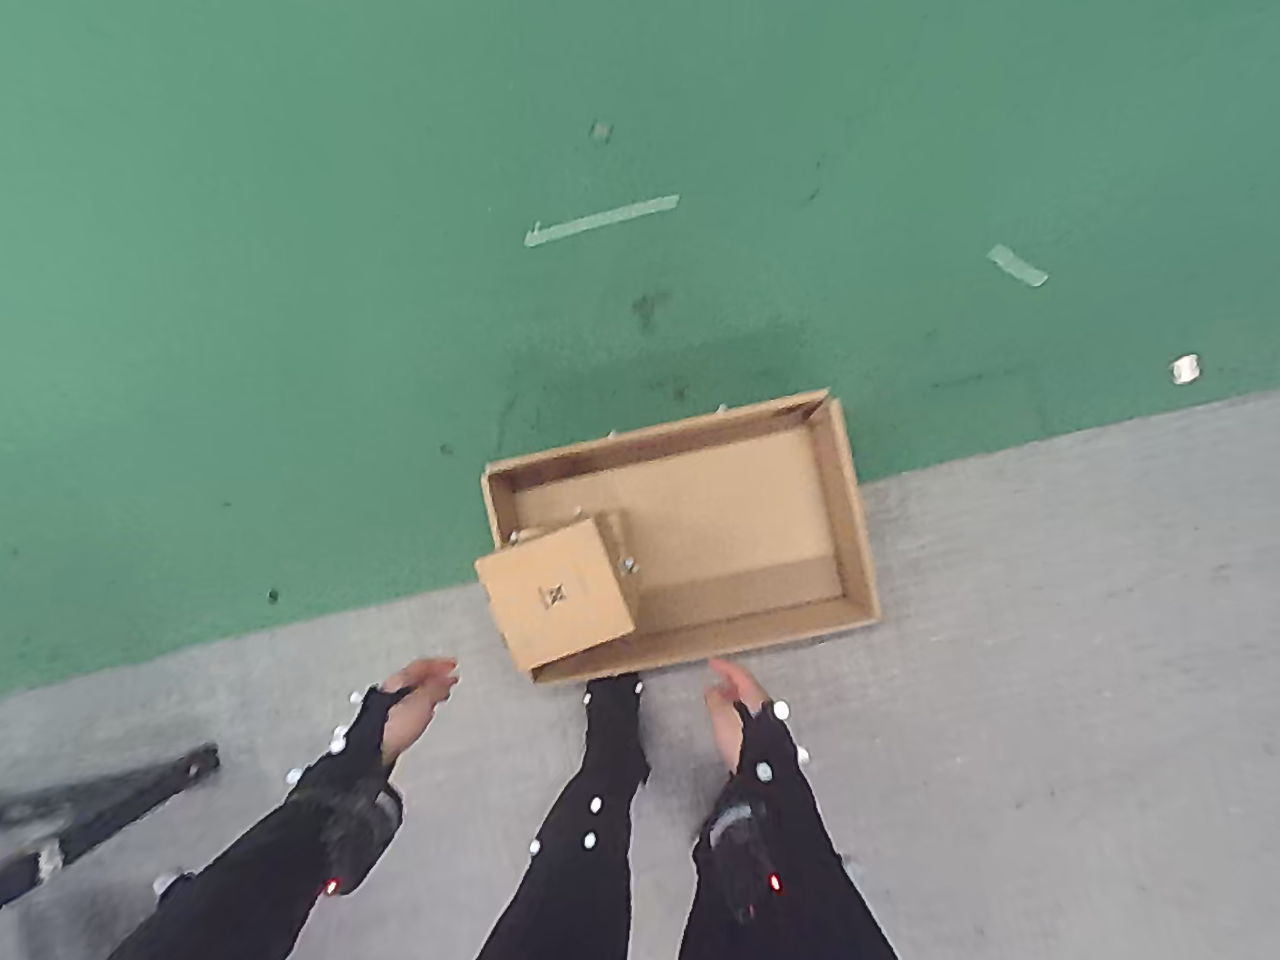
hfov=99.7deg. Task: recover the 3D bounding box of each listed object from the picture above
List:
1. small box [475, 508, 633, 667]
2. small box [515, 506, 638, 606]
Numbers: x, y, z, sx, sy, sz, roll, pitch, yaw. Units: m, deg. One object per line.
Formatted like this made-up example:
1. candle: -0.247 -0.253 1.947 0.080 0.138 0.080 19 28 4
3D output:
1. small box: -0.117 0.149 0.811 0.179 0.176 0.168 -21 92 0
2. small box: -0.106 0.144 0.975 0.179 0.176 0.168 -11 91 3
